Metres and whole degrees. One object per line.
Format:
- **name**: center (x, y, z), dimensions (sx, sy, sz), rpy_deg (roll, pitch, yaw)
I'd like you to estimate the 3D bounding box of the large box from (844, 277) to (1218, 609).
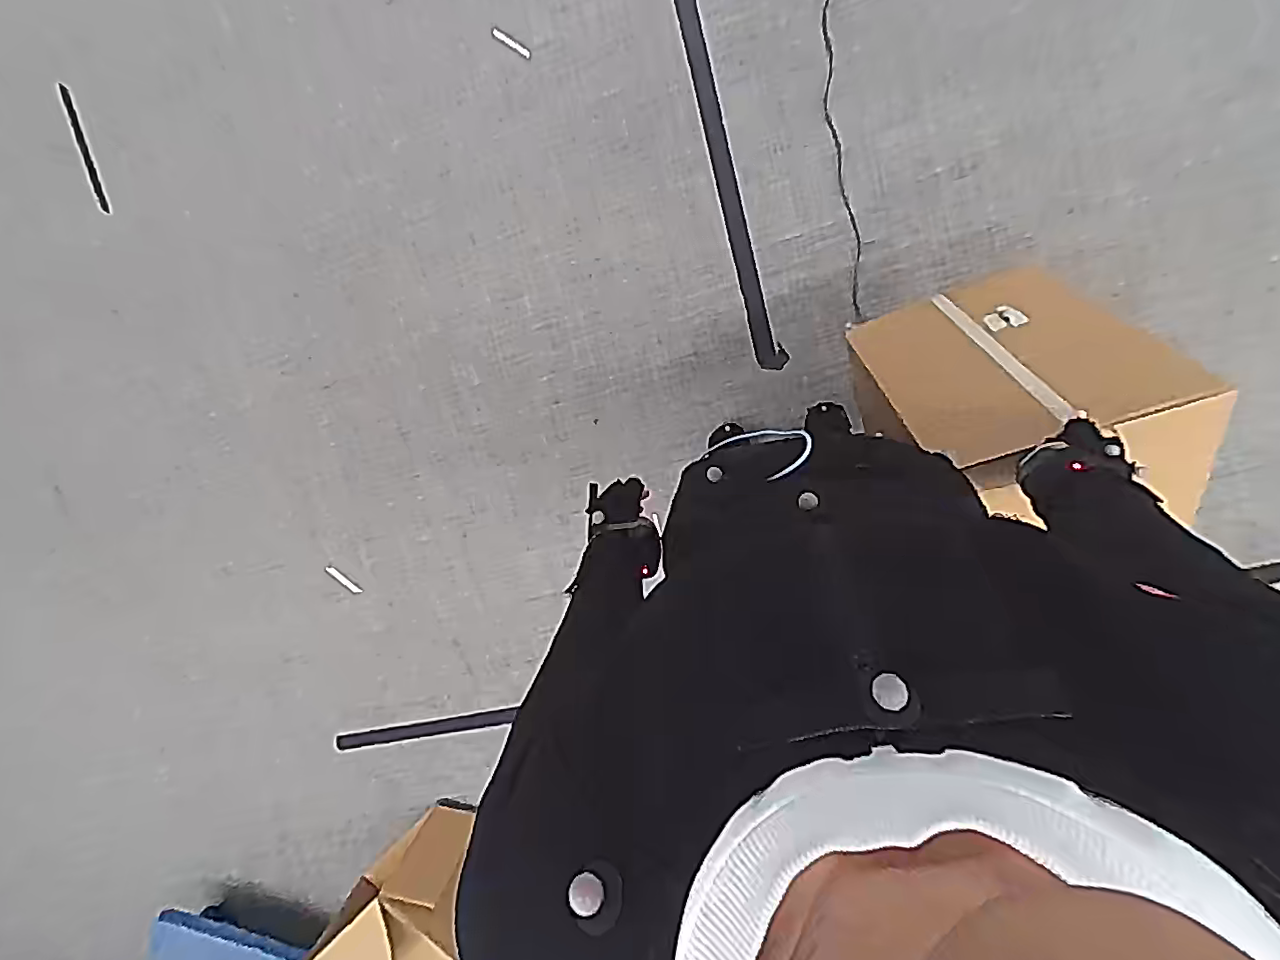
- **large box**: center (0.575, -0.067, 0.886), dimensions (0.320, 0.408, 0.320), rpy_deg (-18, 127, 13)
